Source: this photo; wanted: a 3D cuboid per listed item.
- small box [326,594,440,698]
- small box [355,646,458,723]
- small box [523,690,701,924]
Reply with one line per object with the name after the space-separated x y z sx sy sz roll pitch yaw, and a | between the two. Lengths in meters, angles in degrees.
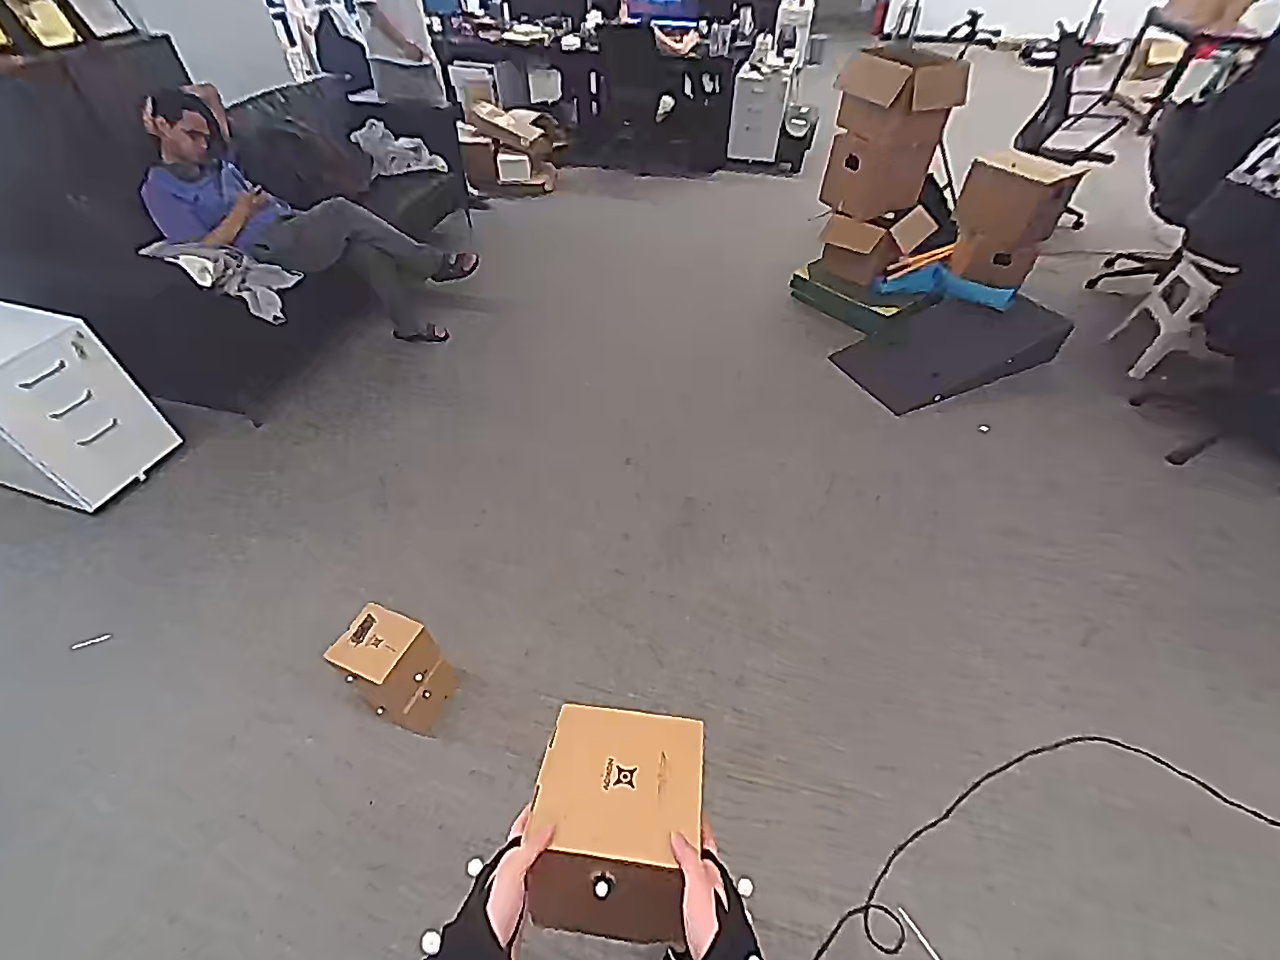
-0.645 0.427 1.380 0.179 0.176 0.168 18 49 15 | small box
-0.638 0.544 1.496 0.179 0.176 0.168 16 48 15 | small box
-0.025 0.377 0.632 0.179 0.176 0.168 6 29 4 | small box
